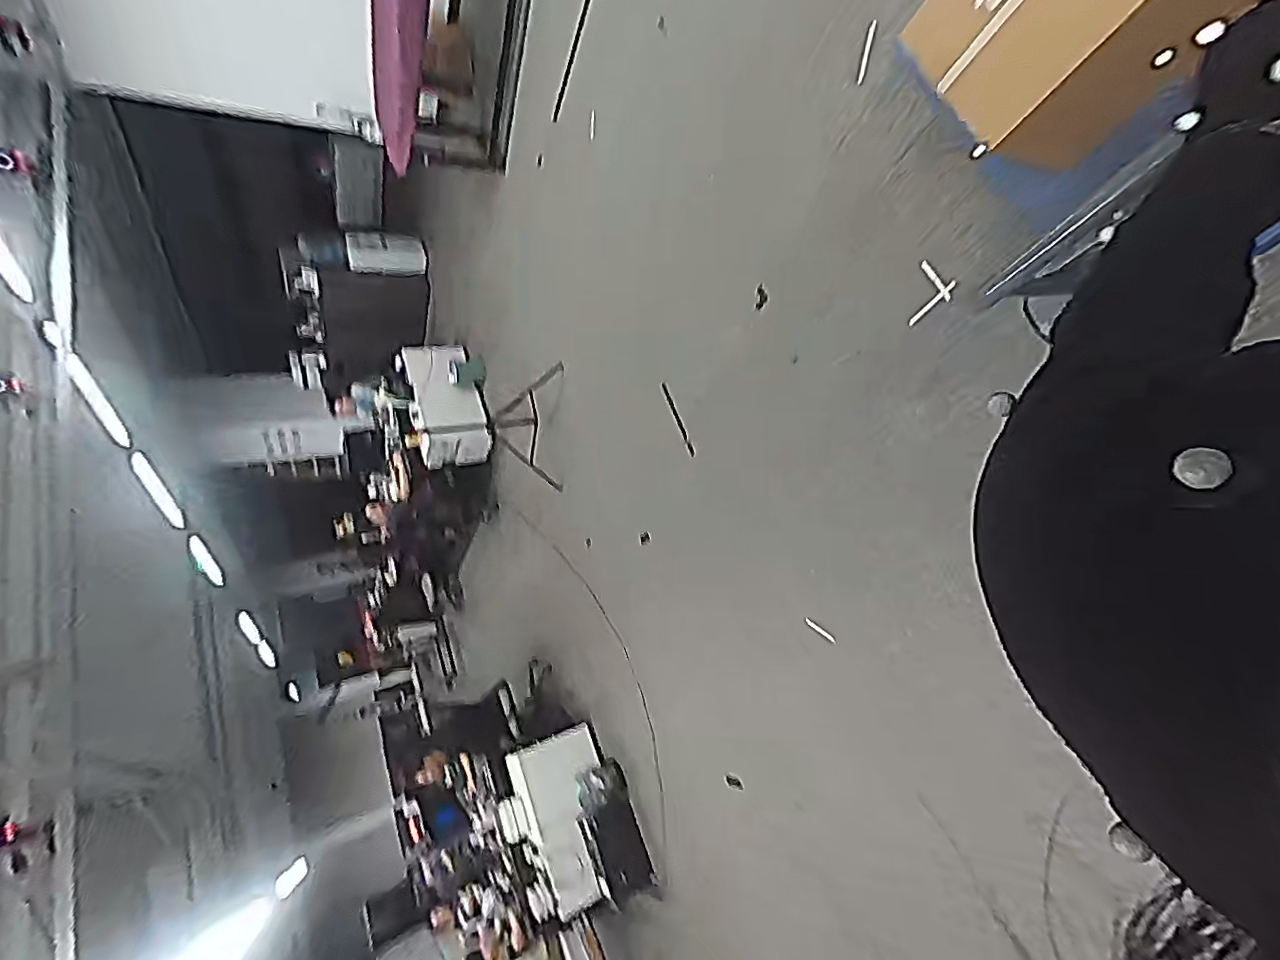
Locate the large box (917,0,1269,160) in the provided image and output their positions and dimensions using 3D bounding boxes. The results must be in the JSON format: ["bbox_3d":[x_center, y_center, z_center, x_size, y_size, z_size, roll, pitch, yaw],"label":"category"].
[{"bbox_3d":[0.767,-0.816,0.871,0.408,0.320,0.320,-46,59,54],"label":"large box"}]
